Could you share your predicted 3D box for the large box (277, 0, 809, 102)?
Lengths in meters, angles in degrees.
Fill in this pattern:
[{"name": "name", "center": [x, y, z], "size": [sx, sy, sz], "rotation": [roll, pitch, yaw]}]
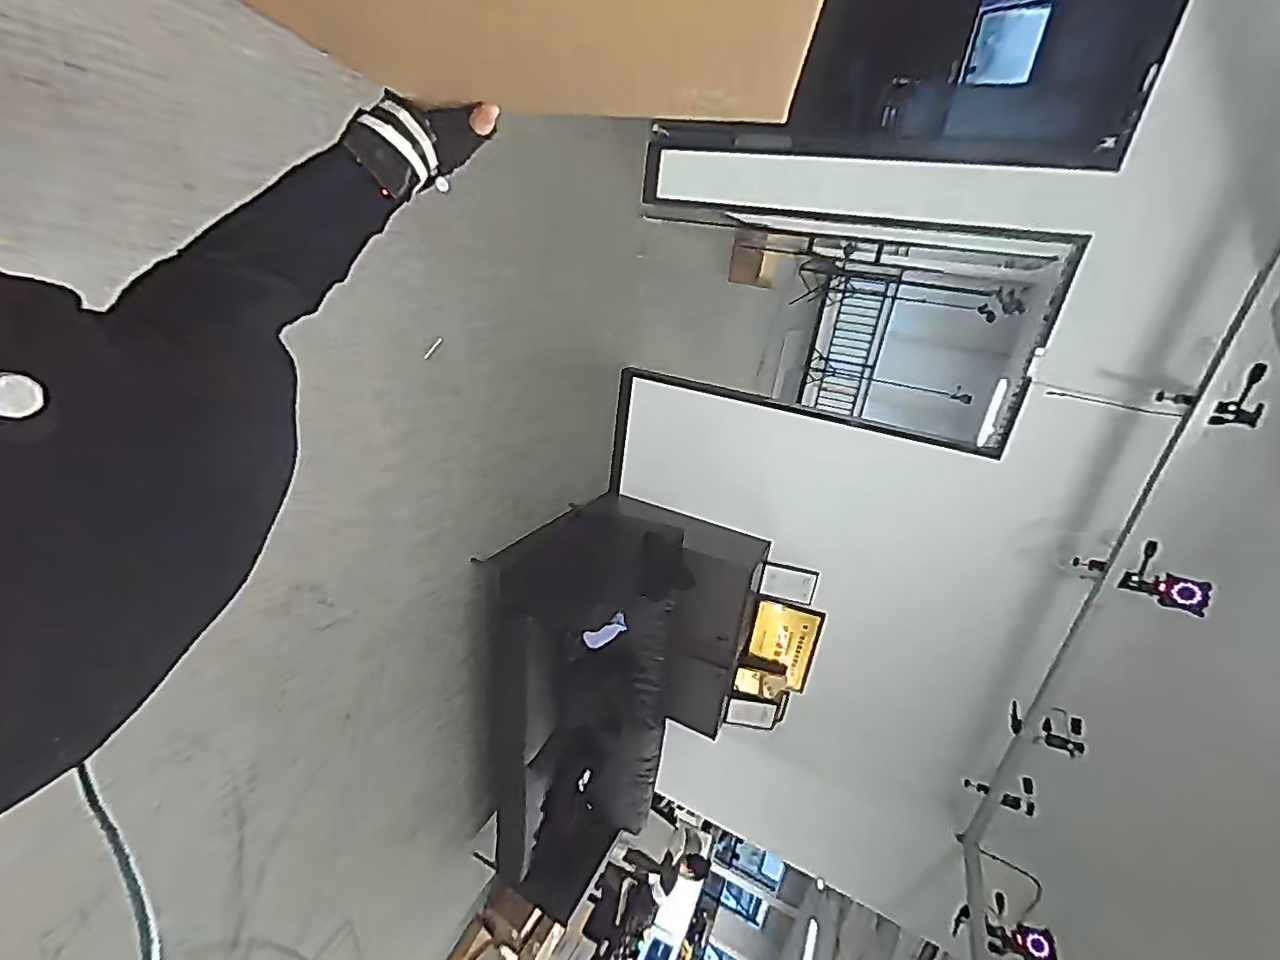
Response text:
[{"name": "large box", "center": [-0.058, -0.388, 0.213], "size": [0.408, 0.320, 0.320], "rotation": [-69, 165, -68]}]
